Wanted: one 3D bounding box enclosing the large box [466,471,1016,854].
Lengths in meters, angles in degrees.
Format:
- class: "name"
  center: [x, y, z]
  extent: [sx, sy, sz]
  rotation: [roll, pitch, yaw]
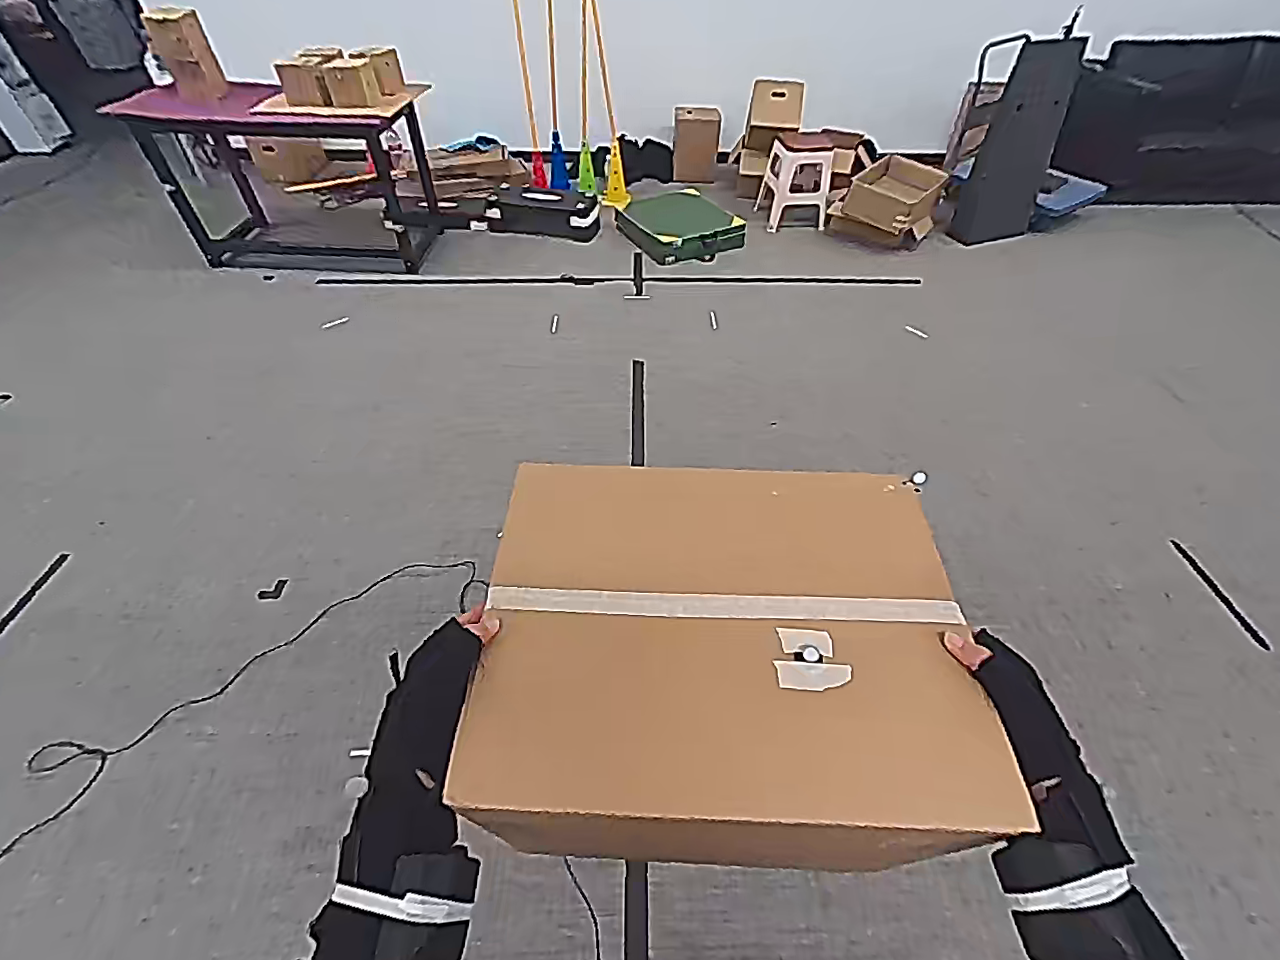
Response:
- class: "large box"
  center: [0.072, 0.206, 0.592]
  extent: [0.408, 0.320, 0.320]
  rotation: [2, 52, 1]
